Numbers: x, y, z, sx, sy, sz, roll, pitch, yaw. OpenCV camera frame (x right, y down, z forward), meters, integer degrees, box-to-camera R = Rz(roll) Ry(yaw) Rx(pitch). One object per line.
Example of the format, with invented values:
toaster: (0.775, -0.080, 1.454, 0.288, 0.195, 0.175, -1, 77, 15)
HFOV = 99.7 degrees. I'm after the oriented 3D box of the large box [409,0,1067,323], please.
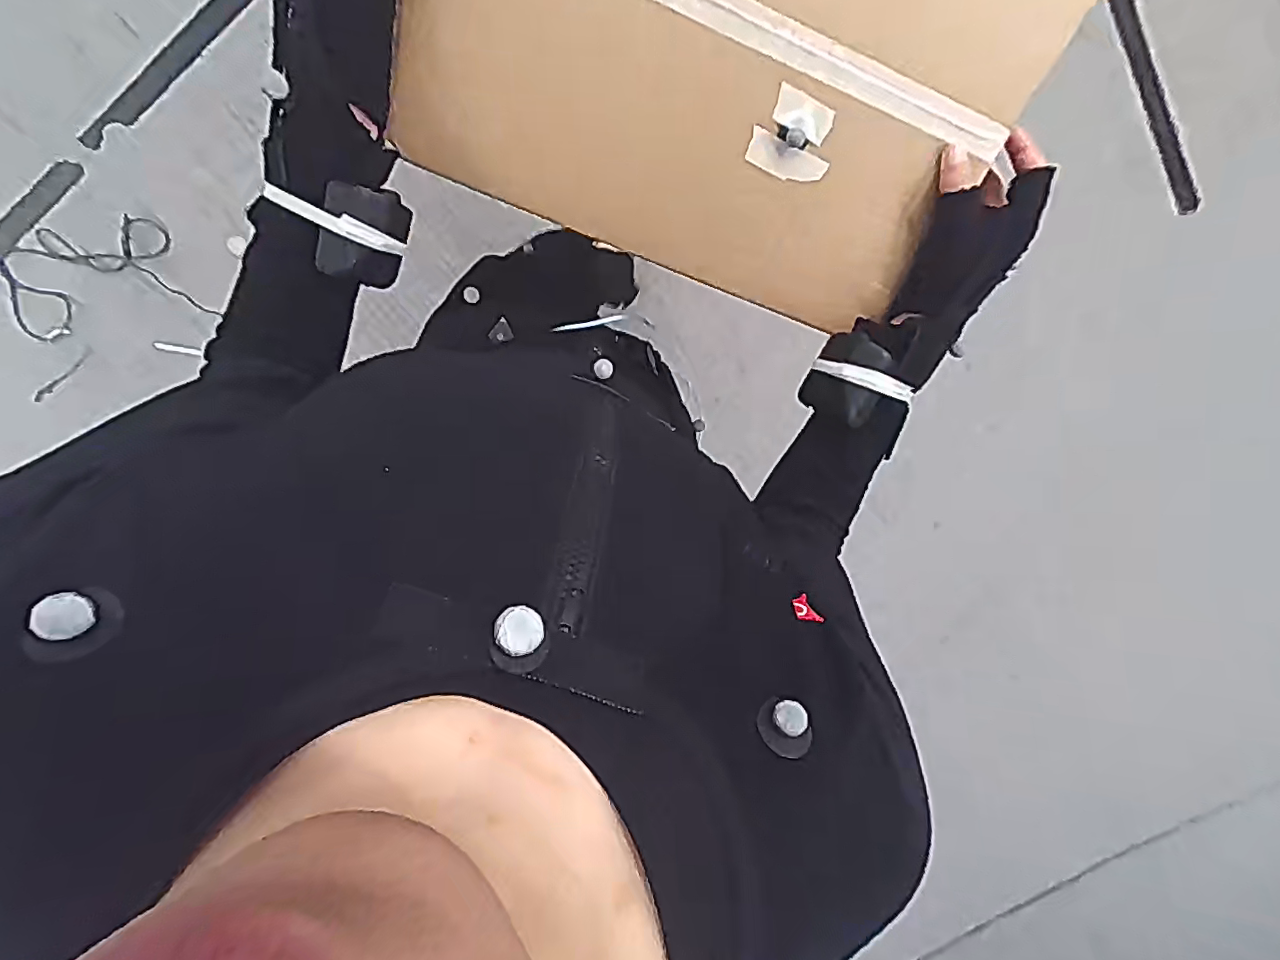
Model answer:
large box: (0.063, -0.393, 0.476, 0.408, 0.320, 0.320, 17, 125, -11)
